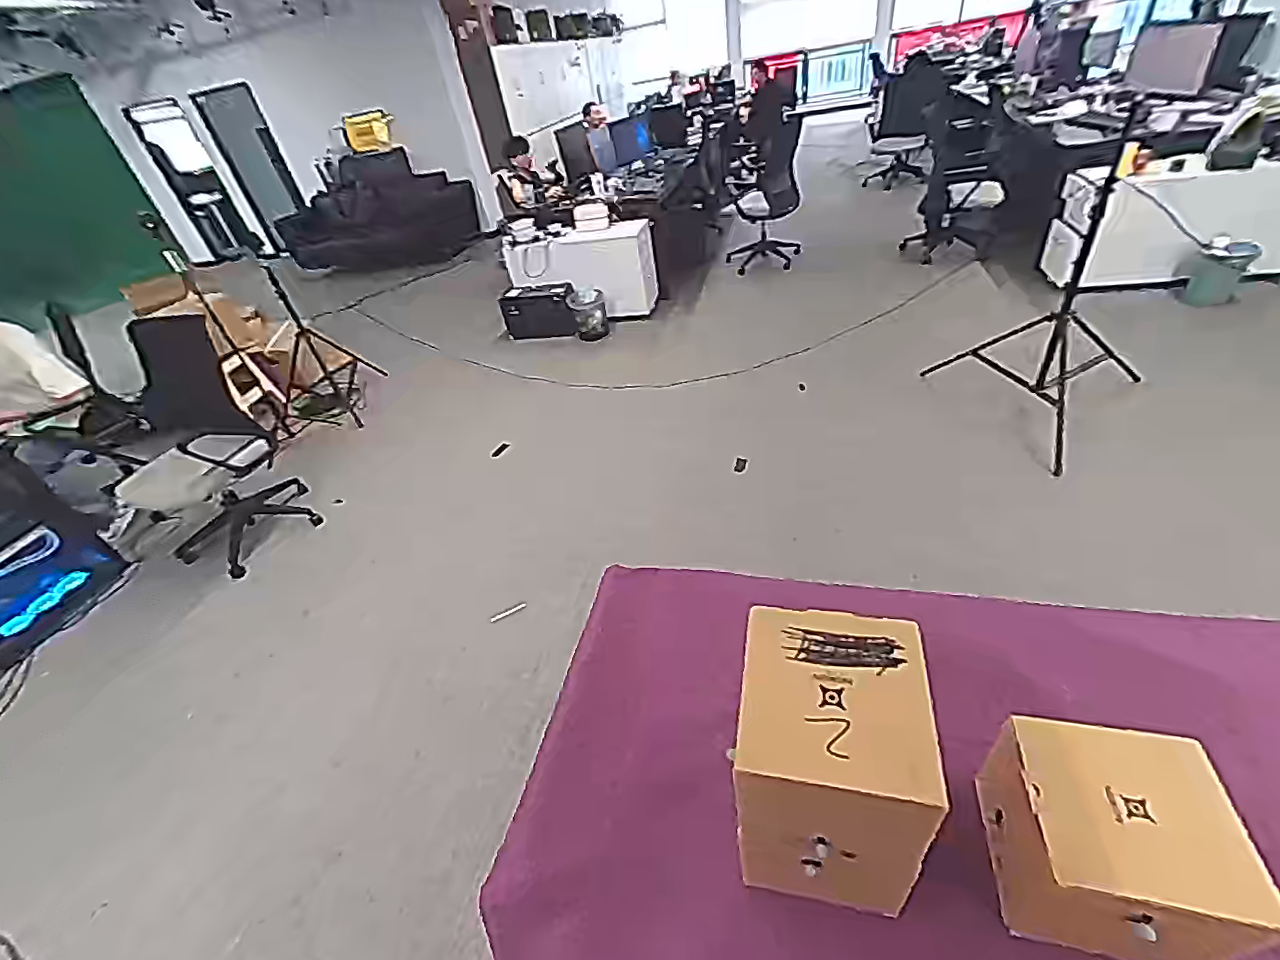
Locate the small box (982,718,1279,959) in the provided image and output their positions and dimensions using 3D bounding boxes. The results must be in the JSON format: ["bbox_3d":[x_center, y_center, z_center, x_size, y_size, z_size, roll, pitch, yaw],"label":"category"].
[{"bbox_3d":[0.496,0.385,0.578,0.179,0.176,0.168,1,39,17],"label":"small box"}]

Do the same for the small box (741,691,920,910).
[{"bbox_3d":[0.220,0.382,0.651,0.179,0.176,0.168,2,40,16],"label":"small box"}]
